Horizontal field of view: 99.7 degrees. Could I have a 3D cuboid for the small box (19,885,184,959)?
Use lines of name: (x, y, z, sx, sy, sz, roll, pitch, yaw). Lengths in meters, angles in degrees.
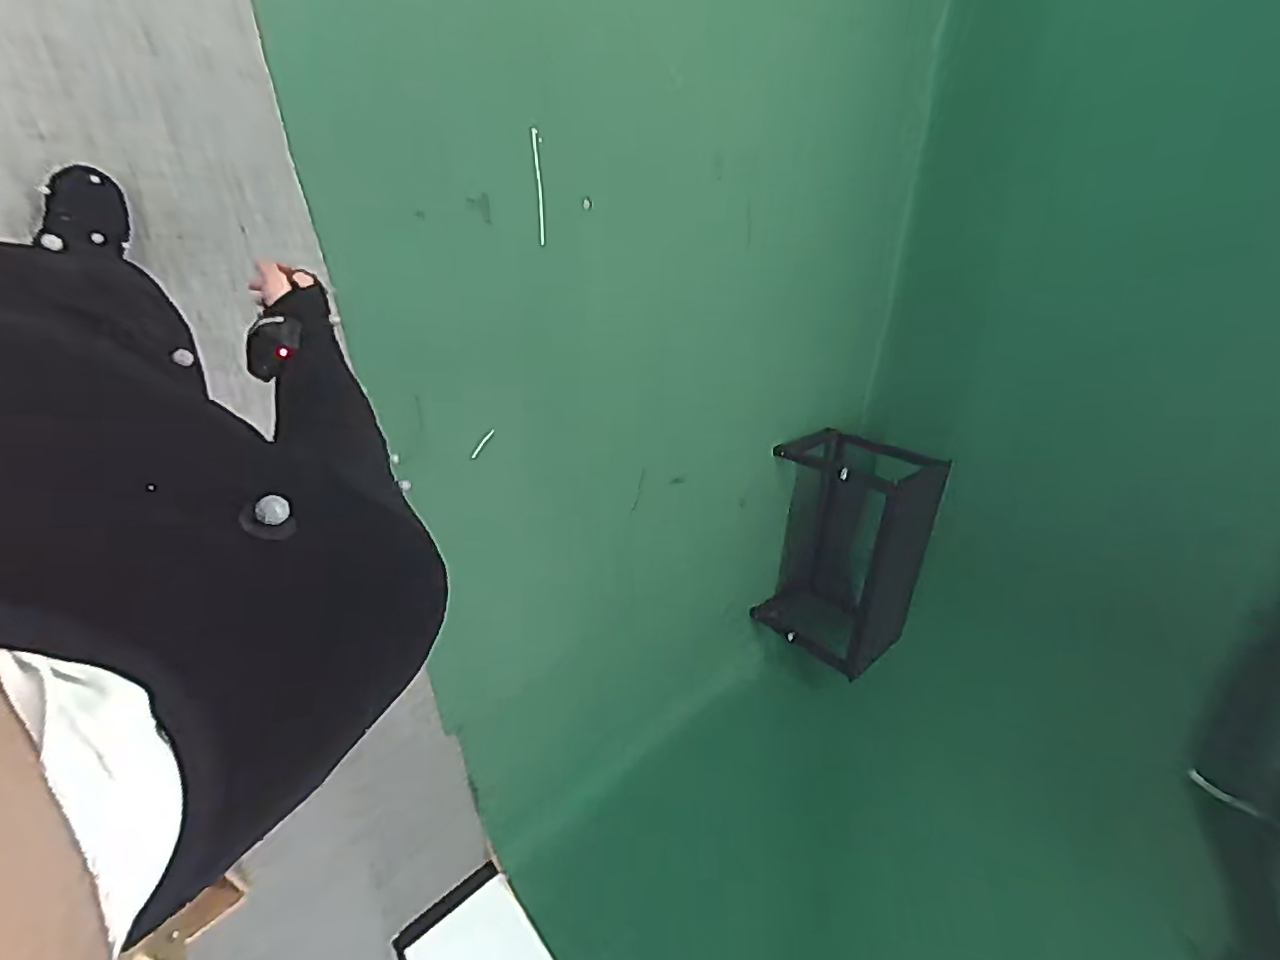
small box: (-0.931, 0.861, 0.940, 0.168, 0.176, 0.179, -26, 127, -35)
